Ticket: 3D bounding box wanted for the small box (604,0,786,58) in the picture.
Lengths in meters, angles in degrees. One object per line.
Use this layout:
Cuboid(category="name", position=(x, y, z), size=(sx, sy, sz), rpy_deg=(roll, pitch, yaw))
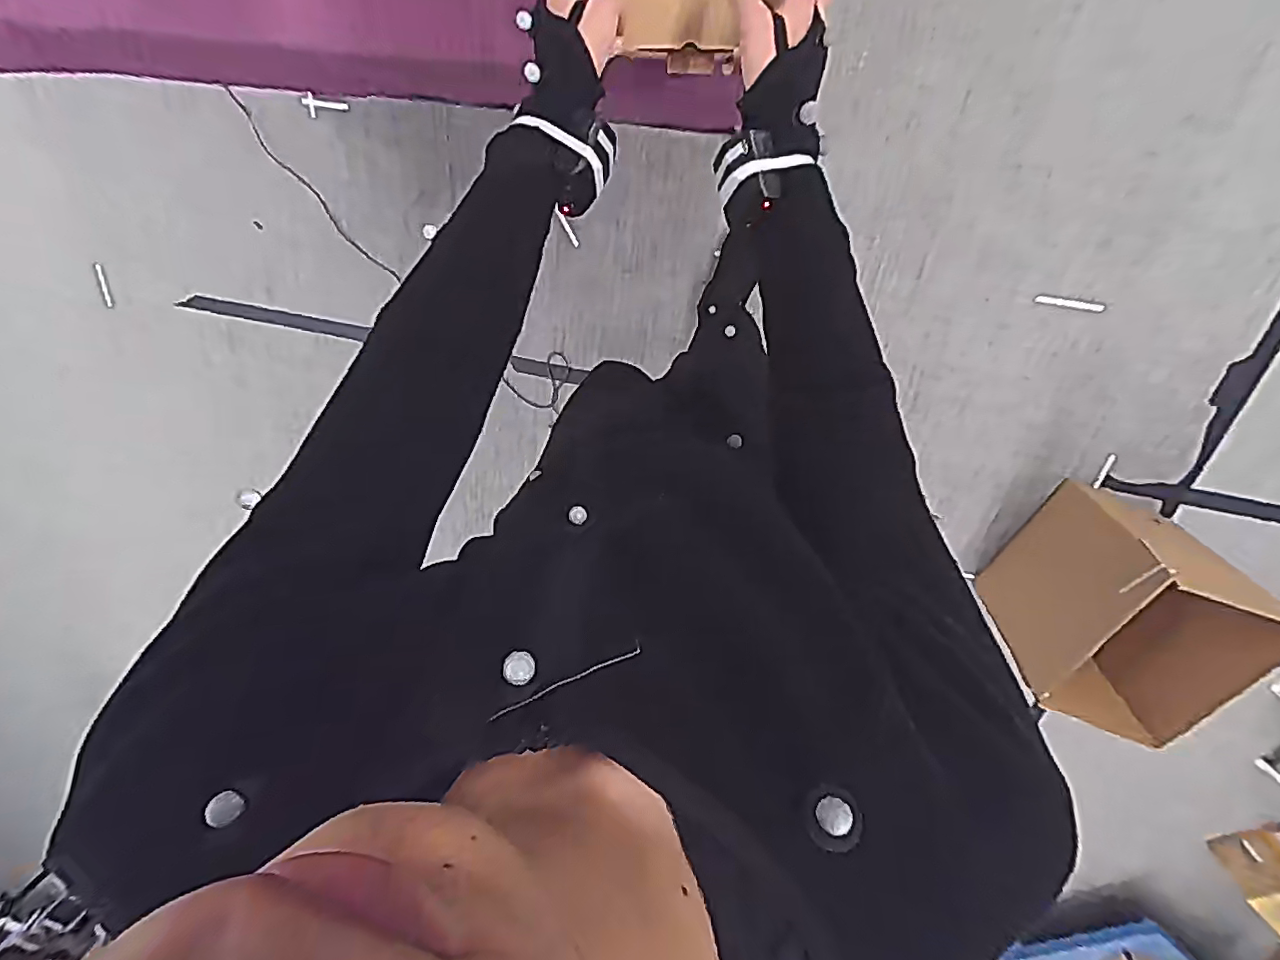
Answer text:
Cuboid(category="small box", position=(0.062, -0.515, 0.513), size=(0.168, 0.176, 0.179), rpy_deg=(5, 125, 6))
